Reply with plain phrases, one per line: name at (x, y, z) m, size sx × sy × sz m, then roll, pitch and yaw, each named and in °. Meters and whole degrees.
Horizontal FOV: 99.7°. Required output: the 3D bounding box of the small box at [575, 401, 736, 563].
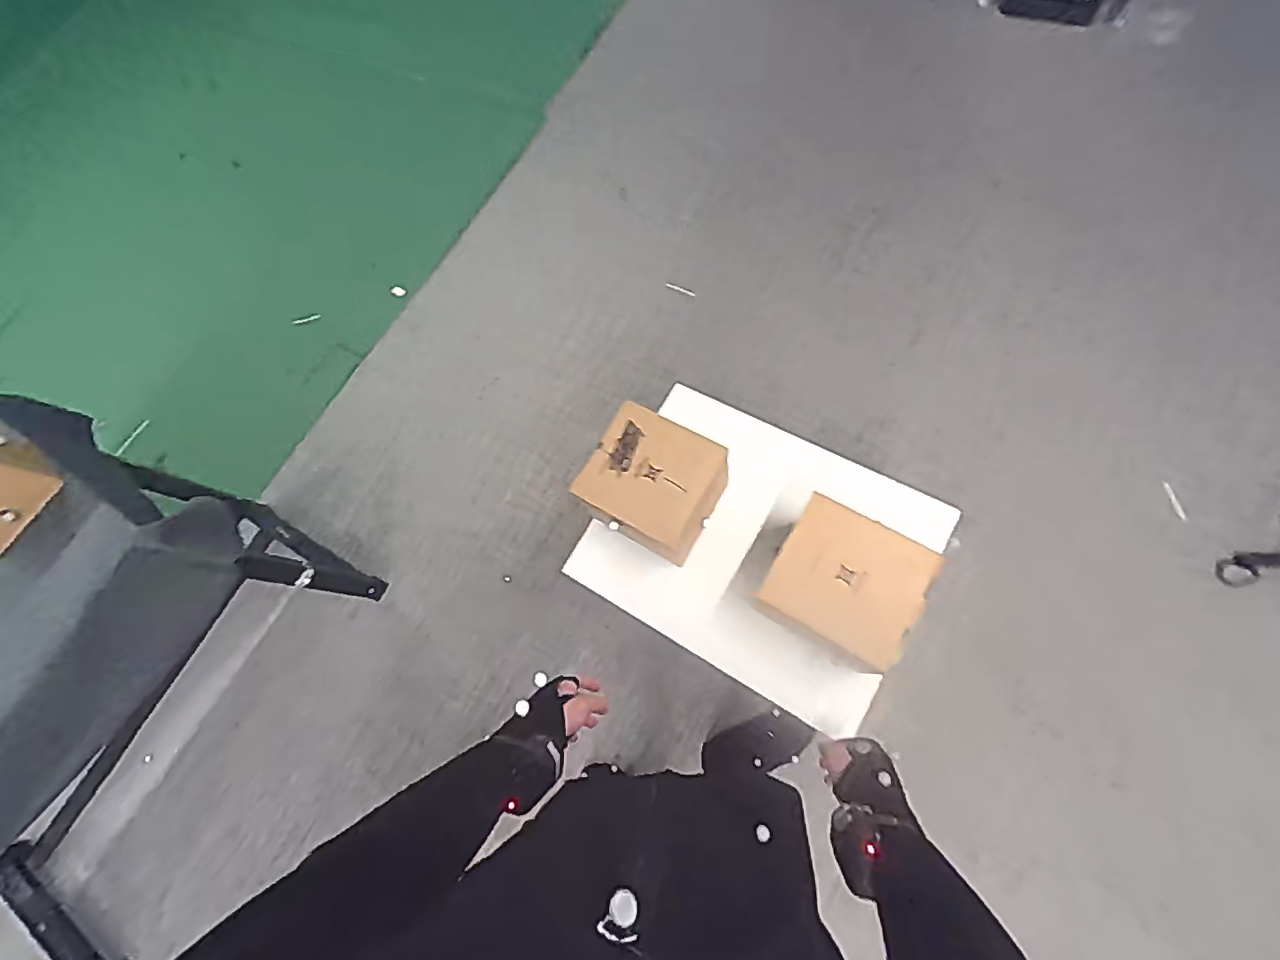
small box at (0.031, 0.012, 0.835) m, size 0.179 × 0.176 × 0.168 m, roll 29°, pitch 79°, yaw 15°

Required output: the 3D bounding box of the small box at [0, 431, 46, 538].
small box at (-1.172, -0.002, 0.907) m, size 0.168 × 0.176 × 0.179 m, roll 31°, pitch 79°, yaw 18°

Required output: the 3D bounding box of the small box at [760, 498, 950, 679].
small box at (0.282, 0.154, 0.749) m, size 0.179 × 0.176 × 0.168 m, roll 29°, pitch 77°, yaw 19°
